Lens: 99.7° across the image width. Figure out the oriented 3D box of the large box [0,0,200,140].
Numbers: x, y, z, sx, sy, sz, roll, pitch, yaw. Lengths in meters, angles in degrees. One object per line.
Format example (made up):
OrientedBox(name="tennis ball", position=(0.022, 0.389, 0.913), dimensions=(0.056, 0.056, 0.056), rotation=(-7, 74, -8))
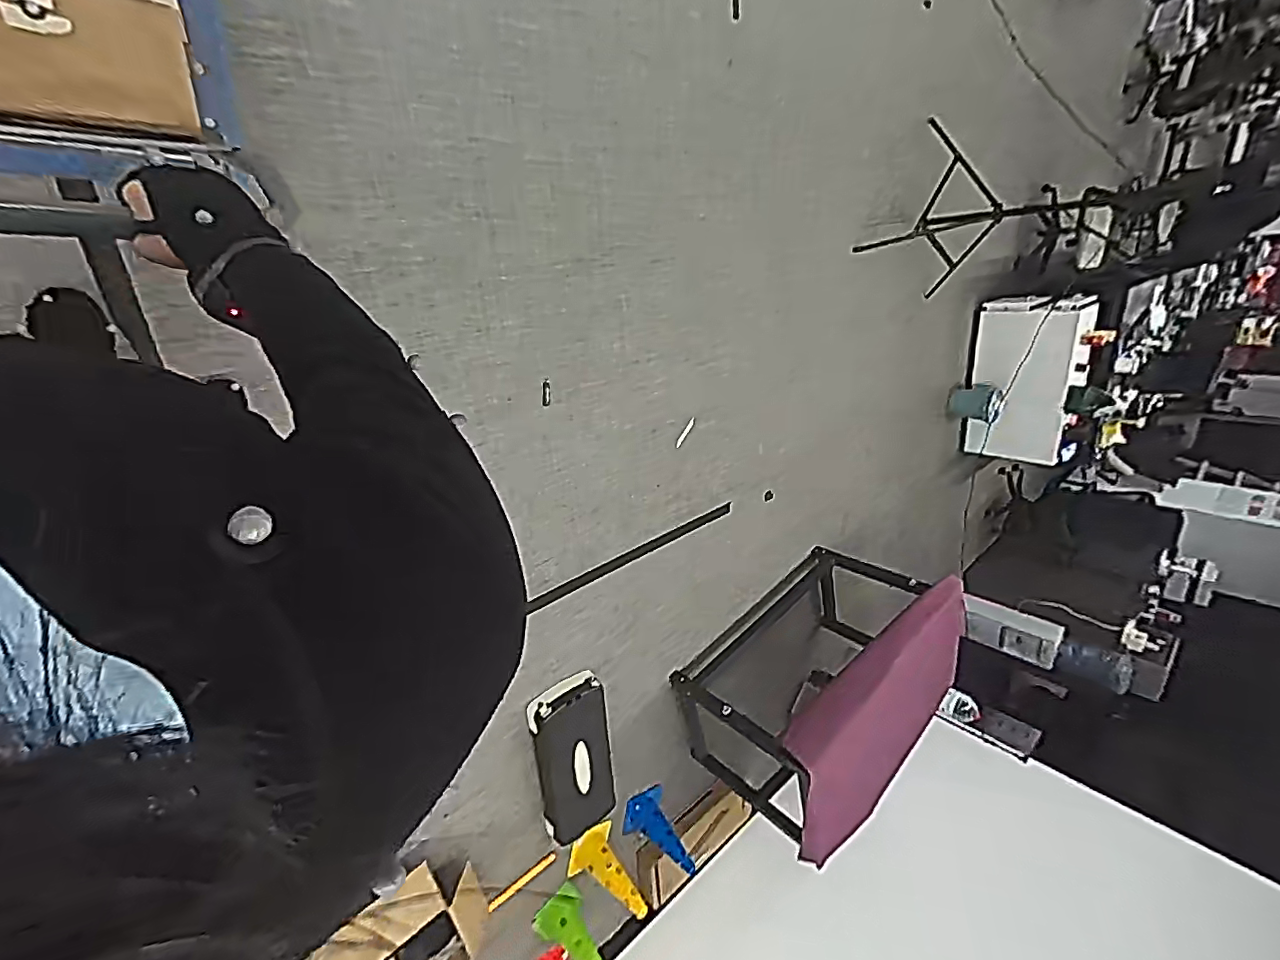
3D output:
OrientedBox(name="large box", position=(-0.860, -0.638, 0.679), dimensions=(0.408, 0.320, 0.320), rotation=(-17, 124, -38))
